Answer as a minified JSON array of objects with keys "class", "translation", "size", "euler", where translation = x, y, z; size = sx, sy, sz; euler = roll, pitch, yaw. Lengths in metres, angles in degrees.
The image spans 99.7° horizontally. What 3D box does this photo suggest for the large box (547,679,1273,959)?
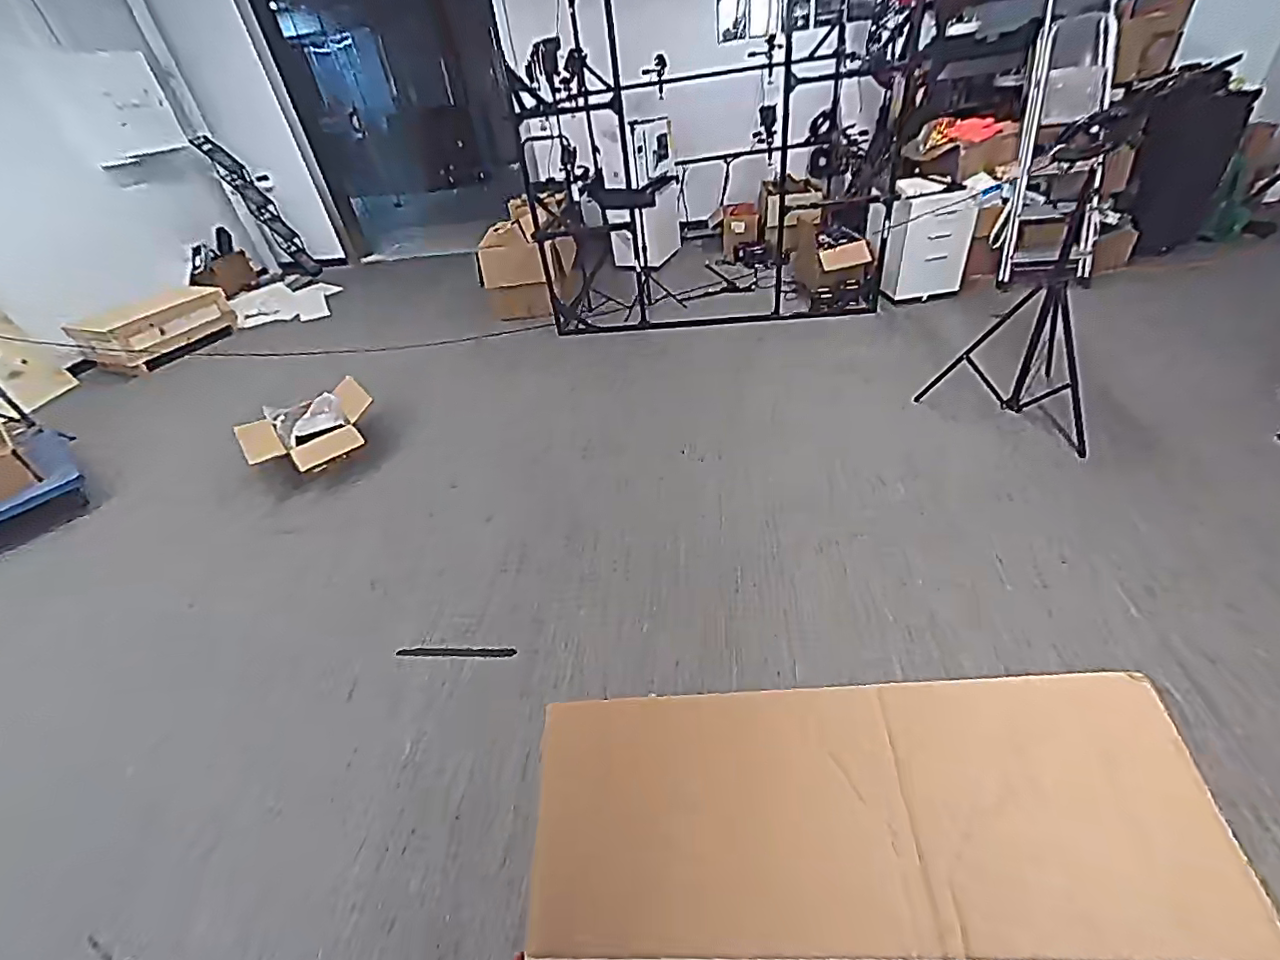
[{"class":"large box","translation":[0.162,0.368,0.424],"size":[0.408,0.320,0.320],"euler":[-7,55,9]}]
